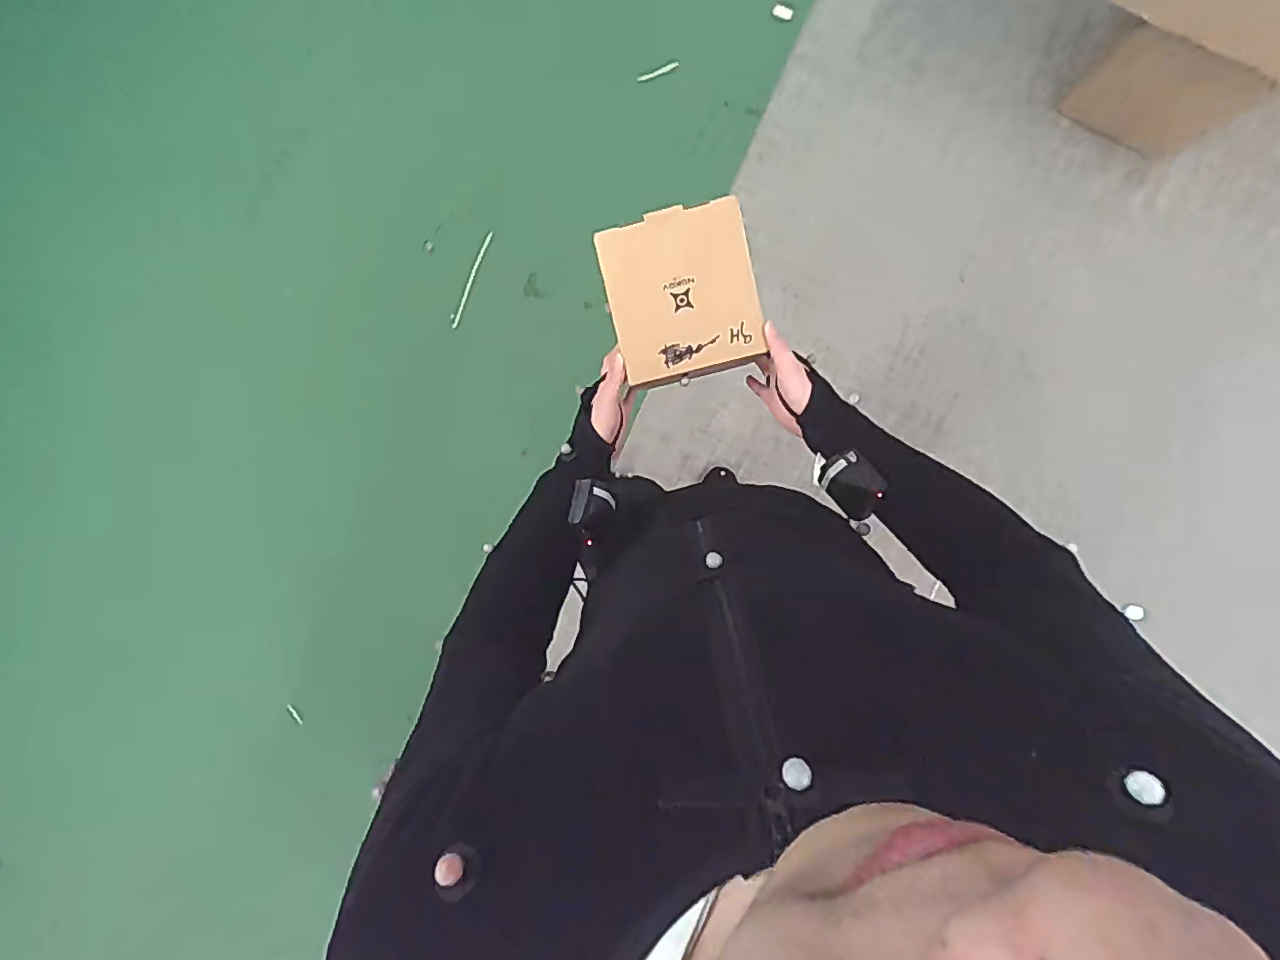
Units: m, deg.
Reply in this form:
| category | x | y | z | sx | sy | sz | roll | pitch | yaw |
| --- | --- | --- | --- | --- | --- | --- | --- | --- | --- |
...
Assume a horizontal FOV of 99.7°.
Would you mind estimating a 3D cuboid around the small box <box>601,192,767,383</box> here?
| category | x | y | z | sx | sy | sz | roll | pitch | yaw |
| --- | --- | --- | --- | --- | --- | --- | --- | --- | --- |
| small box | 0.057 | -0.229 | 0.692 | 0.168 | 0.176 | 0.179 | -11 | 96 | 8 |
